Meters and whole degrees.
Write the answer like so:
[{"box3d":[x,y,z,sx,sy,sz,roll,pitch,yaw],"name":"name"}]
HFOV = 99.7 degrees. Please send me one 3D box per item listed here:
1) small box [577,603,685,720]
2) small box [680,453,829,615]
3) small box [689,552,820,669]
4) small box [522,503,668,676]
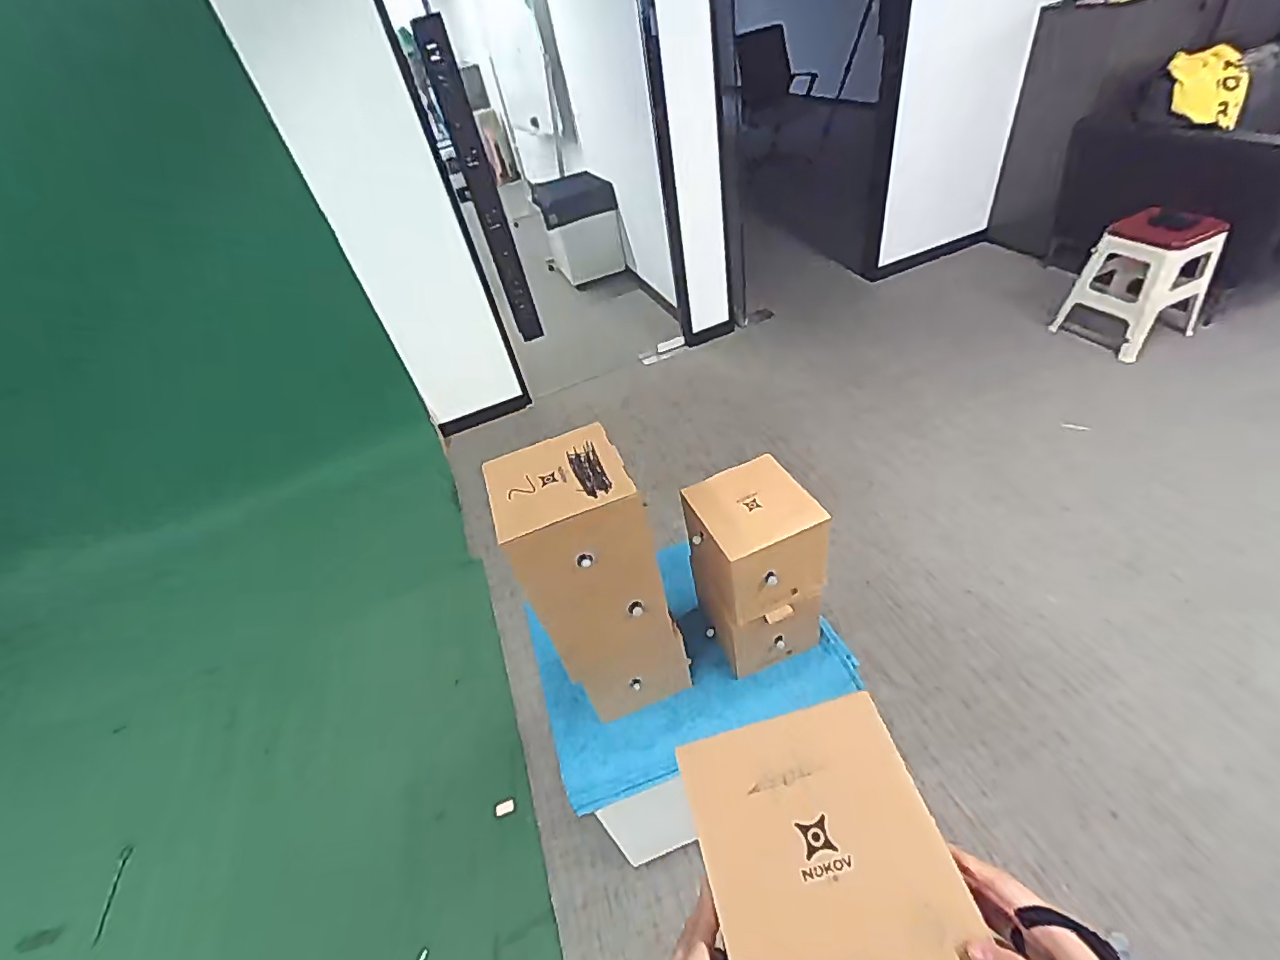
[{"box3d":[-0.029,0.286,0.952,0.179,0.176,0.168,-21,42,-8],"name":"small box"},{"box3d":[0.182,0.092,0.867,0.168,0.176,0.179,-22,41,-9],"name":"small box"},{"box3d":[0.203,0.214,0.973,0.168,0.176,0.179,-20,42,-8],"name":"small box"},{"box3d":[-0.064,0.170,0.841,0.179,0.176,0.168,-20,41,-8],"name":"small box"}]
